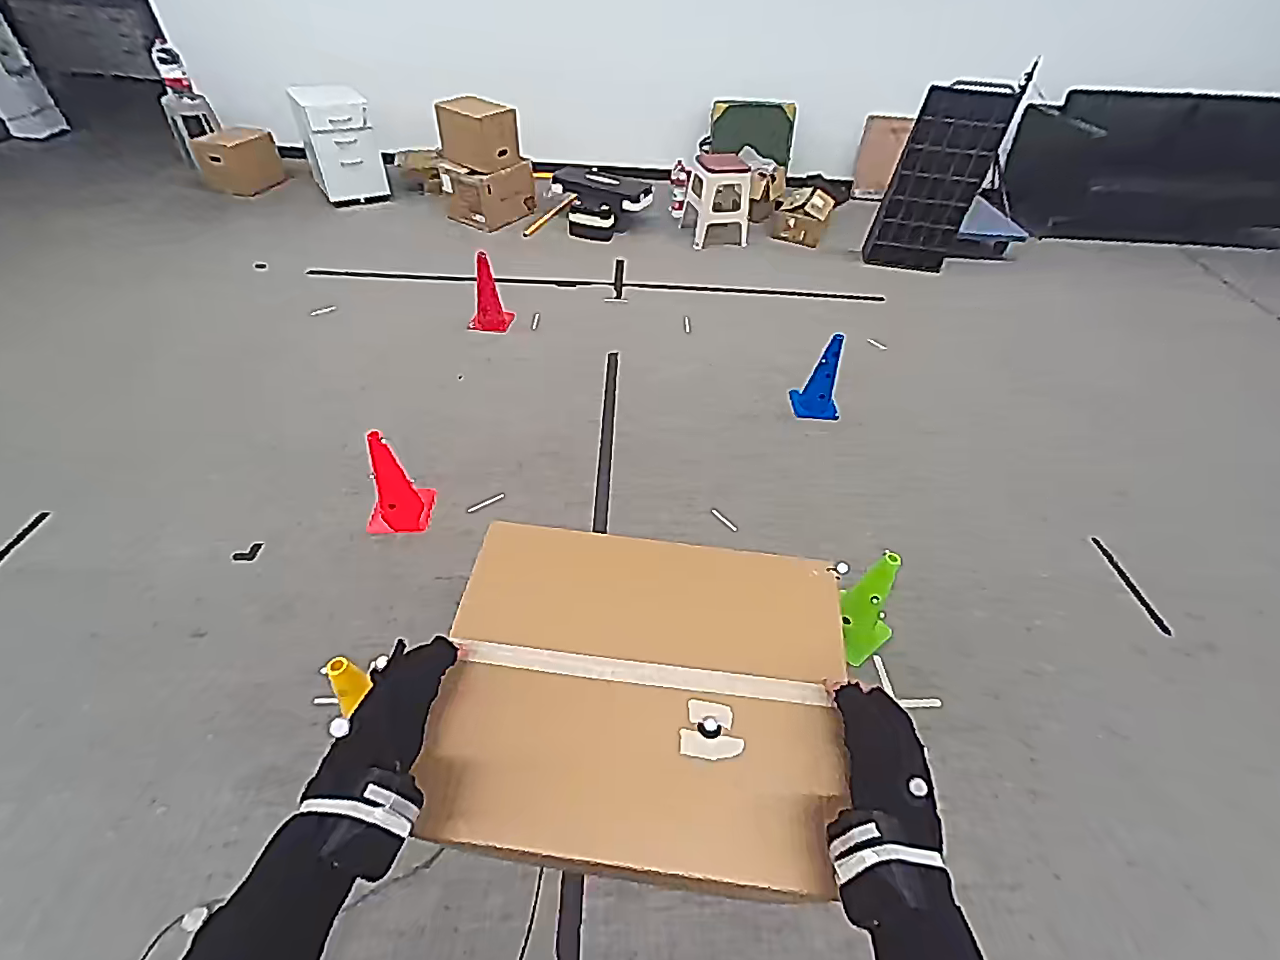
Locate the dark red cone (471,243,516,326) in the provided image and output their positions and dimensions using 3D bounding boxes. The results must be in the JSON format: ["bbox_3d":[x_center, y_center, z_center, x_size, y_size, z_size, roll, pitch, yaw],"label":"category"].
[{"bbox_3d":[-0.740,-0.964,2.666,0.201,0.394,0.202,7,46,1],"label":"dark red cone"}]

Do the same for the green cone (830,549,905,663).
[{"bbox_3d":[0.667,0.328,1.554,0.202,0.368,0.200,-26,54,-28],"label":"green cone"}]

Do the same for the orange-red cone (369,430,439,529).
[{"bbox_3d":[-0.815,-0.019,1.775,0.198,0.360,0.199,0,47,-3],"label":"orange-red cone"}]

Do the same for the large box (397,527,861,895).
[{"bbox_3d":[-0.004,0.286,0.660,0.408,0.320,0.320,7,52,3],"label":"large box"}]

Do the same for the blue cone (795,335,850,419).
[{"bbox_3d":[0.821,-0.458,2.353,0.192,0.380,0.193,5,46,-1],"label":"blue cone"}]
